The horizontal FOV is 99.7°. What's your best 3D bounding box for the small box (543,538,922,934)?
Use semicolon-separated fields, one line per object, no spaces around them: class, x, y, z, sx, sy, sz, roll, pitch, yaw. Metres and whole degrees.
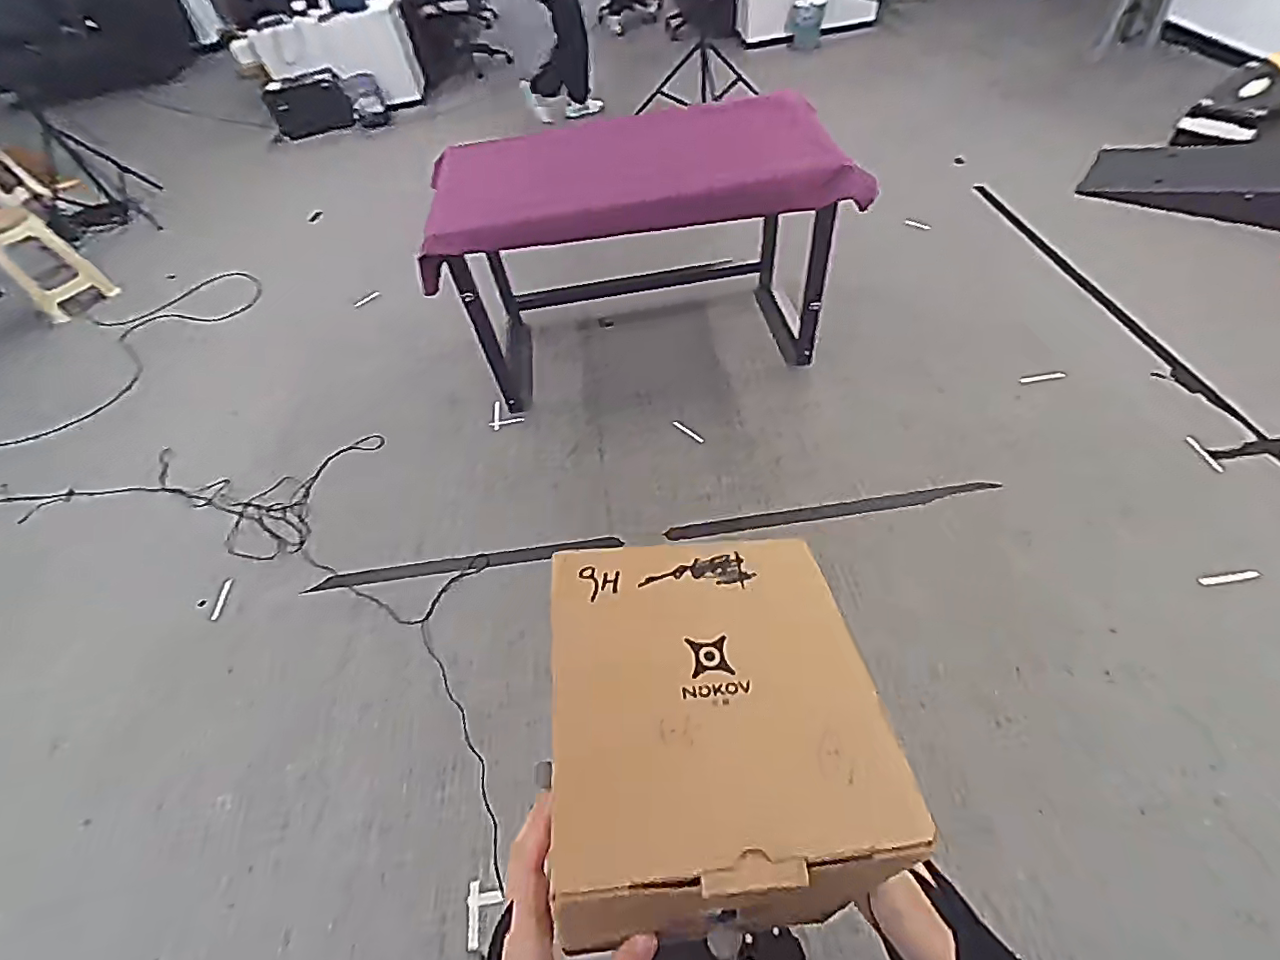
small box;0.030;0.158;0.337;0.168;0.176;0.179;-2;44;-8
